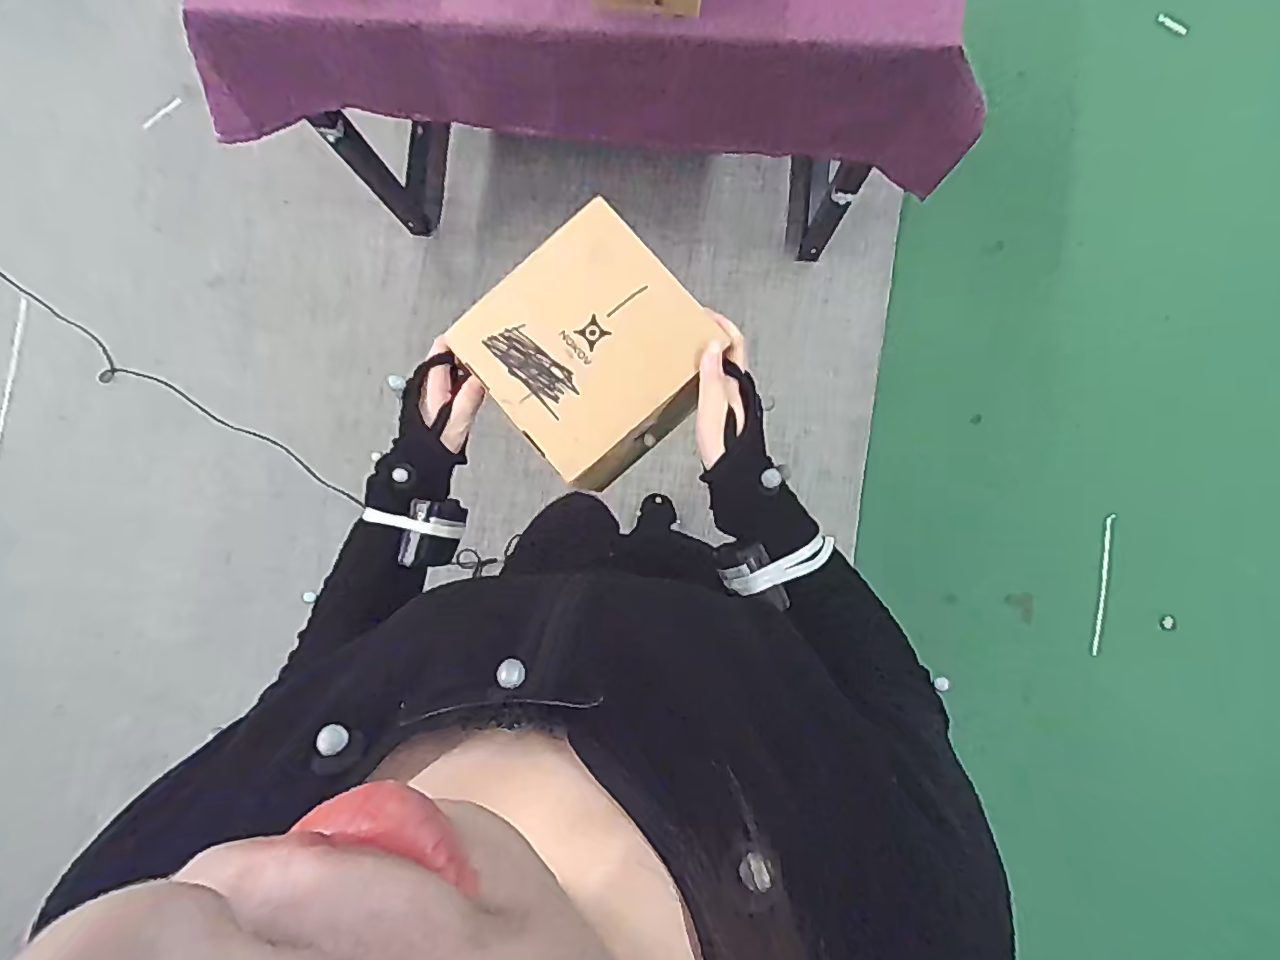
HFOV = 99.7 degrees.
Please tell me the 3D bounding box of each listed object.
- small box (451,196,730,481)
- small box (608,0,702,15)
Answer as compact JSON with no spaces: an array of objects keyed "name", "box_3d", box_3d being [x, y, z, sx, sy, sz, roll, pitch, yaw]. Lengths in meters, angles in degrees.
[{"name":"small box","box_3d":[-0.036,-0.113,0.516,0.179,0.176,0.168,-40,85,1]},{"name":"small box","box_3d":[0.019,-0.797,0.745,0.168,0.176,0.179,8,87,2]}]
